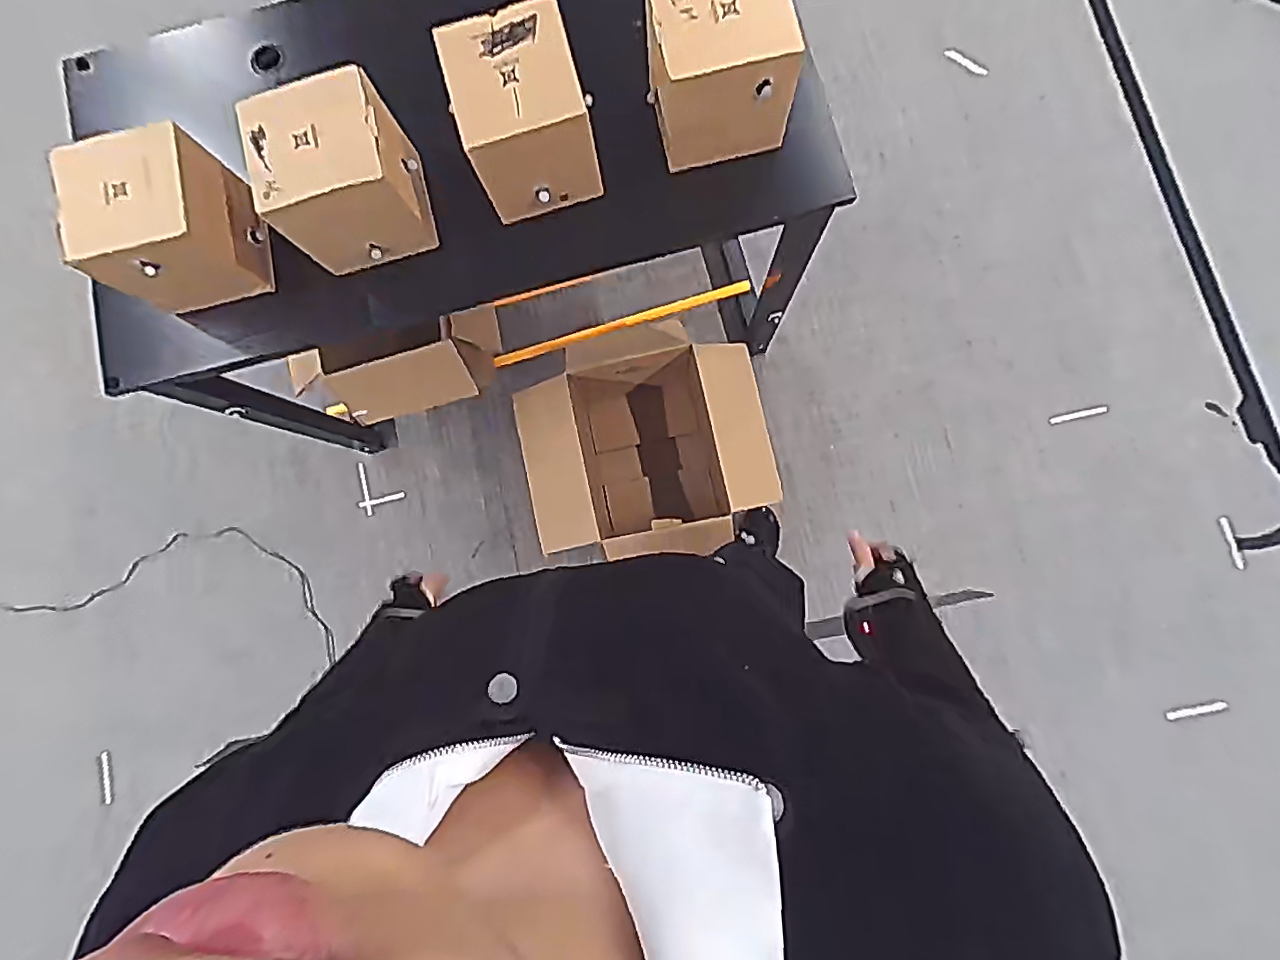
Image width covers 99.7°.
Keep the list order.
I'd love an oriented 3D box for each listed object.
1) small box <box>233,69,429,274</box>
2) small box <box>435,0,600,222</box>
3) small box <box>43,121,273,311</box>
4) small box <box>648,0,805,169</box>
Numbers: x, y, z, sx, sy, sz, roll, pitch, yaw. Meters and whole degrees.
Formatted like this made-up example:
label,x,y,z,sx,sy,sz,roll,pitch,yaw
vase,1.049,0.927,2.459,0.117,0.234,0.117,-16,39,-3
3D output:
label,x,y,z,sx,sy,sz,roll,pitch,yaw
small box,-0.421,-0.424,0.770,0.179,0.176,0.168,-15,83,1
small box,-0.162,-0.507,0.765,0.168,0.176,0.179,-16,83,1
small box,-0.678,-0.364,0.778,0.179,0.176,0.168,-13,84,0
small box,0.109,-0.577,0.756,0.179,0.176,0.168,-12,82,2
